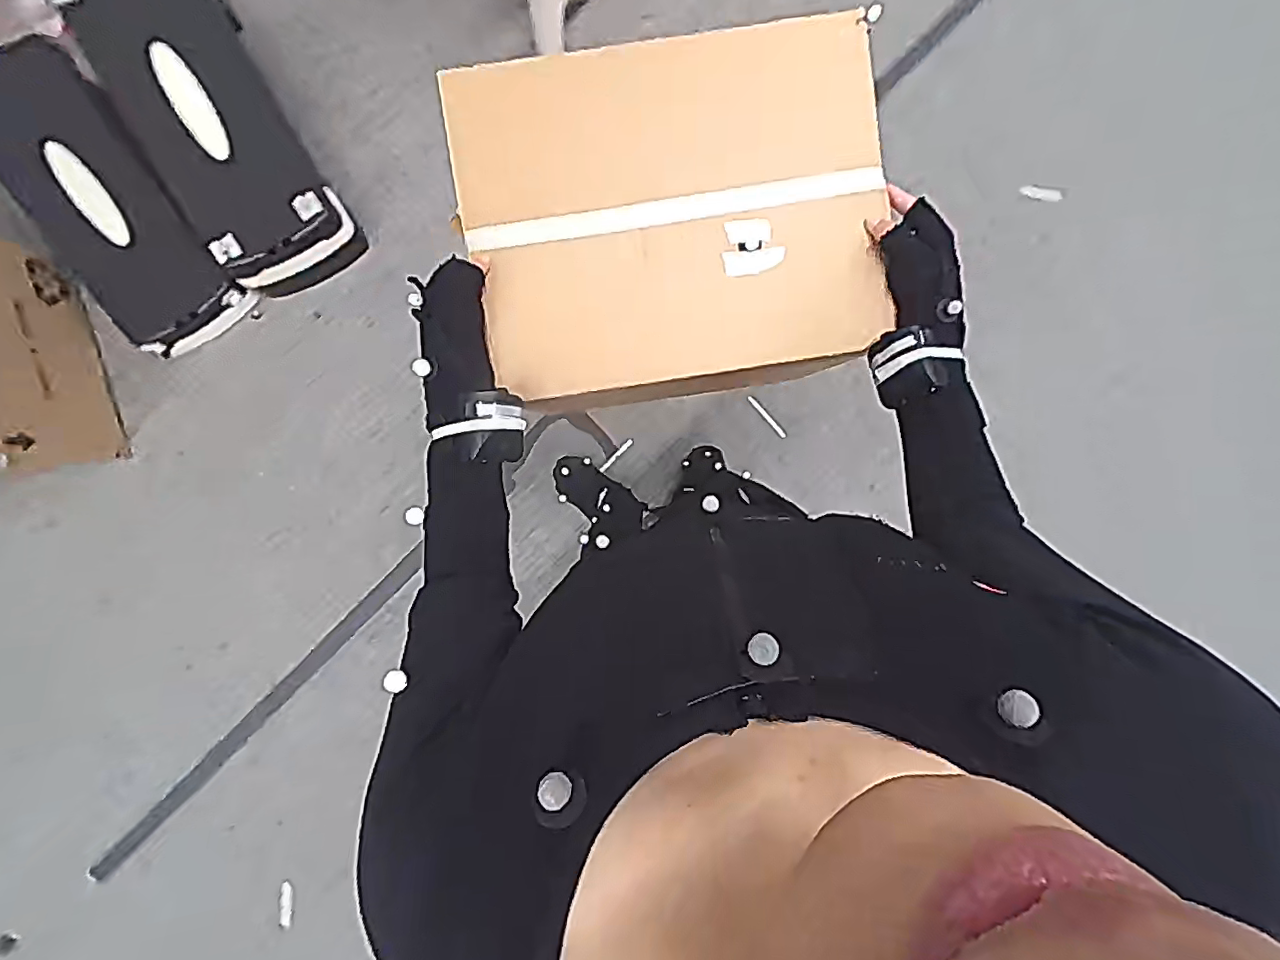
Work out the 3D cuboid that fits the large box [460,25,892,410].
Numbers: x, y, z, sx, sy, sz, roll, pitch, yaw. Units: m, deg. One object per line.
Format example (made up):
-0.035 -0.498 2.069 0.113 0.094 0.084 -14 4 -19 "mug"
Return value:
0.036 -0.277 0.686 0.408 0.320 0.320 -8 96 -1 "large box"
